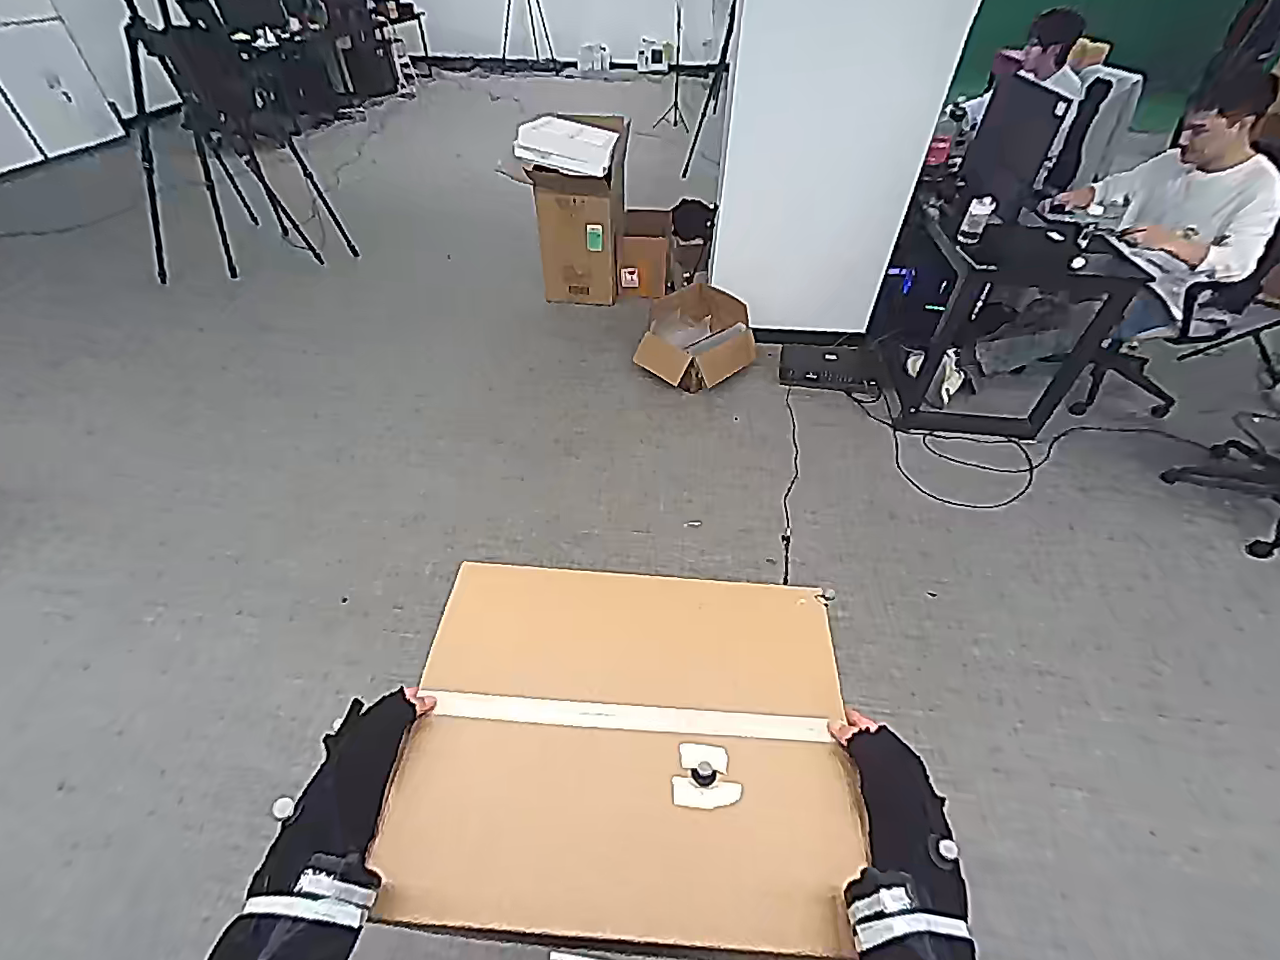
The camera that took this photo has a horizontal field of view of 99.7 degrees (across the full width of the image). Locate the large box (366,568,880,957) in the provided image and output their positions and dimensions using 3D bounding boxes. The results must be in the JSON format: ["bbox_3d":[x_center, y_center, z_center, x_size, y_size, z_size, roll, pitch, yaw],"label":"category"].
[{"bbox_3d":[-0.014,0.325,0.618,0.408,0.320,0.320,5,48,0],"label":"large box"}]
